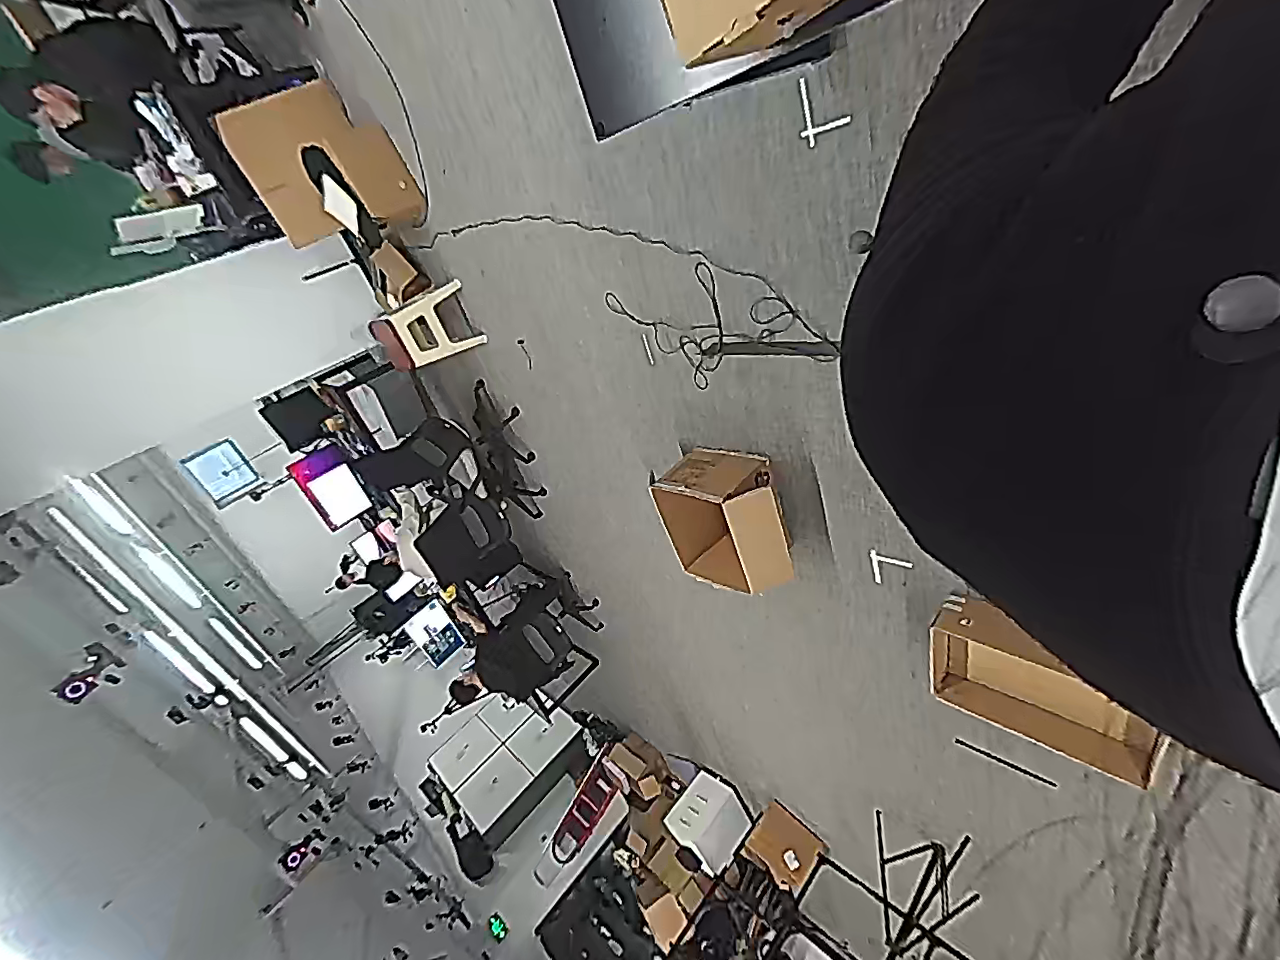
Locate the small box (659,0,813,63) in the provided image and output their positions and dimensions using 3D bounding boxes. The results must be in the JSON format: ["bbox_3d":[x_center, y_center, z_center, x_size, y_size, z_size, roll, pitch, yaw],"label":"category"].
[{"bbox_3d":[0.117,-0.586,0.562,0.168,0.176,0.179,6,128,50],"label":"small box"}]
